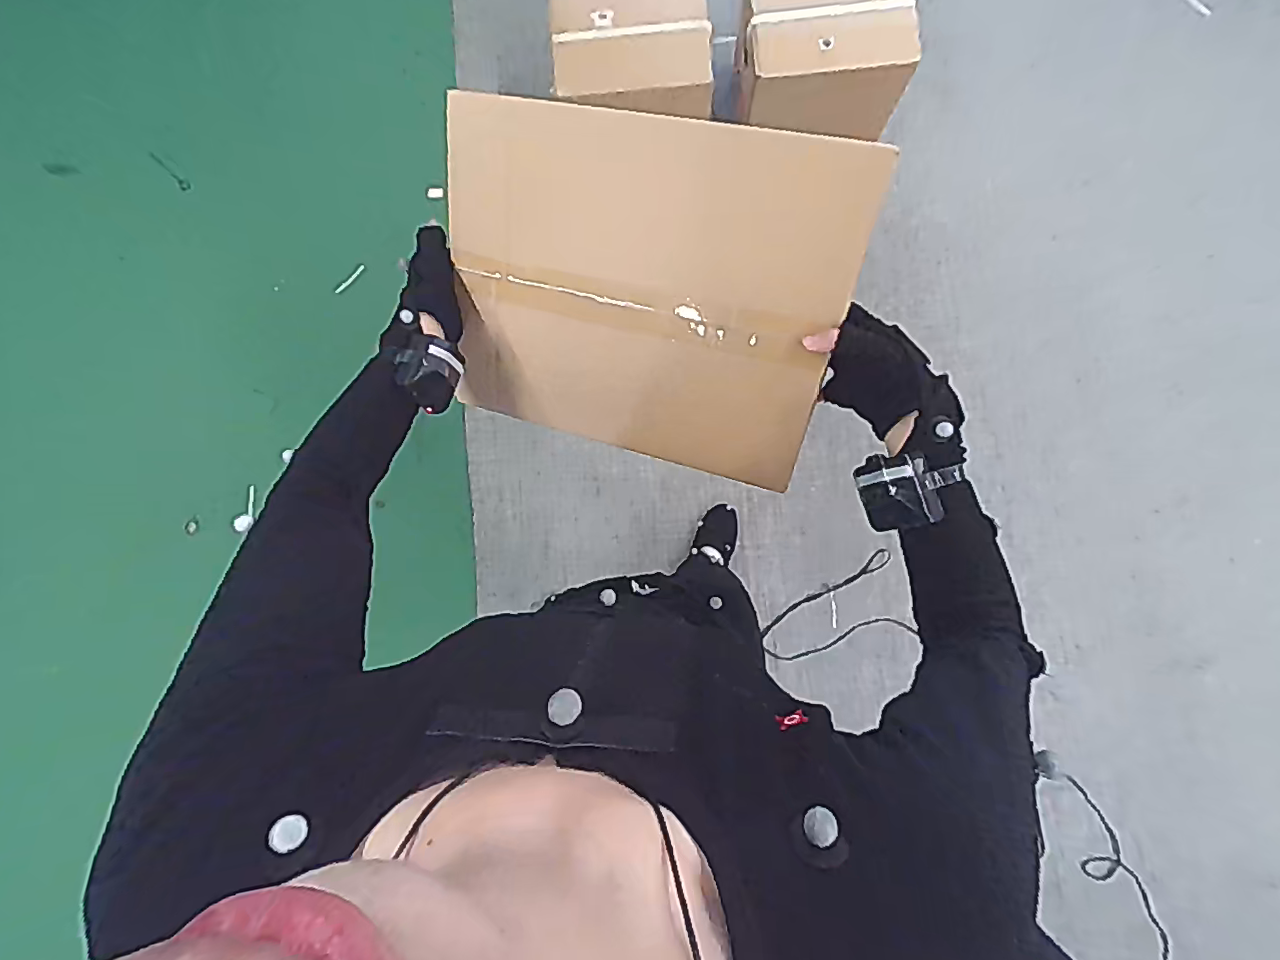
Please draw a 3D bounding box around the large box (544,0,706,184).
[{"bbox_3d":[-0.035,-1.091,1.531,0.408,0.320,0.320,-4,83,2],"label":"large box"}]
